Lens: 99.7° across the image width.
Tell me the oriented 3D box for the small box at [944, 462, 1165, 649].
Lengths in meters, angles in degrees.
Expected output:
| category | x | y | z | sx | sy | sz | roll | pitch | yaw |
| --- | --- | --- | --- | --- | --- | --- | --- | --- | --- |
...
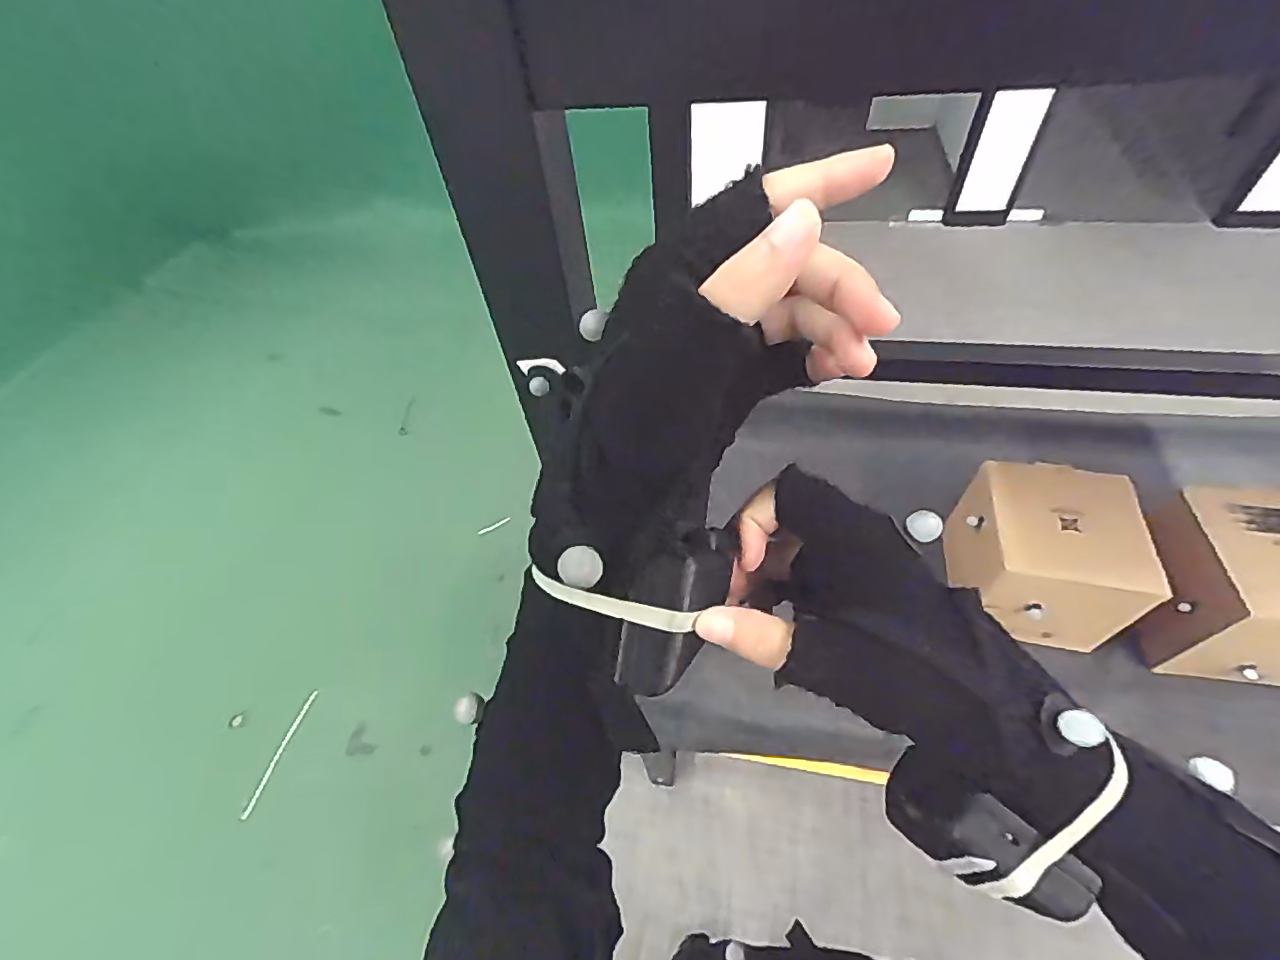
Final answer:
| category | x | y | z | sx | sy | sz | roll | pitch | yaw |
| --- | --- | --- | --- | --- | --- | --- | --- | --- | --- |
| small box | 0.525 | 0.102 | 0.719 | 0.168 | 0.176 | 0.179 | 8 | 52 | 13 |
